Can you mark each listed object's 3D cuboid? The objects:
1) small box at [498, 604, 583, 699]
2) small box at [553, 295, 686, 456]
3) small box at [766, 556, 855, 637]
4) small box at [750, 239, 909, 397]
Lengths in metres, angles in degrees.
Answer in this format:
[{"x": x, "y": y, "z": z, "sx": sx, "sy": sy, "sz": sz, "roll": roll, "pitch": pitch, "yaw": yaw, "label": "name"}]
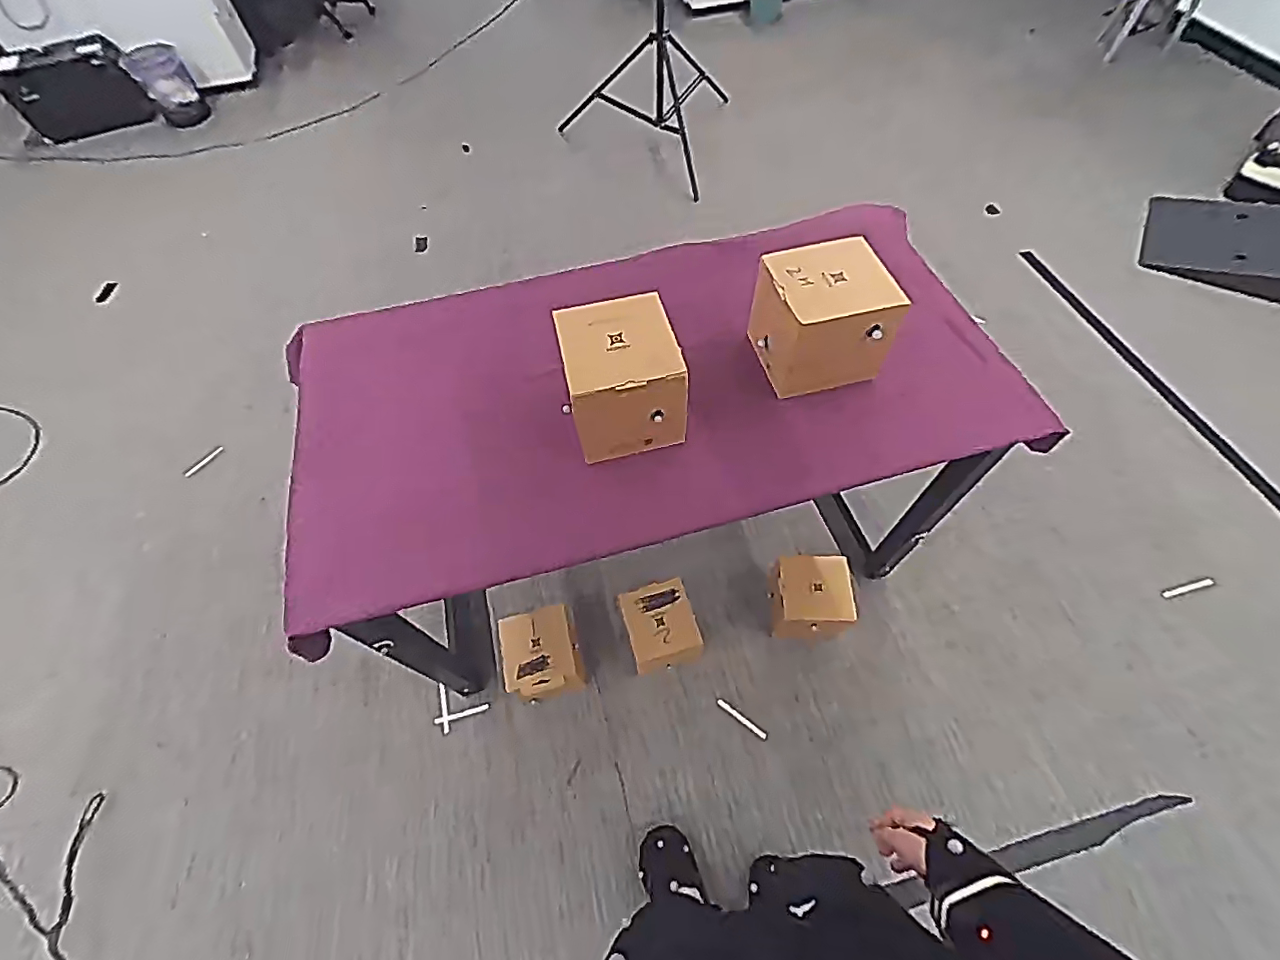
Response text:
[{"x": -0.243, "y": 0.436, "z": 1.349, "sx": 0.168, "sy": 0.176, "sz": 0.179, "roll": -13, "pitch": 59, "yaw": -6, "label": "small box"}, {"x": -0.030, "y": -0.153, "z": 0.843, "sx": 0.168, "sy": 0.176, "sz": 0.179, "roll": -13, "pitch": 58, "yaw": -7, "label": "small box"}, {"x": 0.434, "y": 0.305, "z": 1.402, "sx": 0.179, "sy": 0.176, "sz": 0.168, "roll": 0, "pitch": 60, "yaw": 3, "label": "small box"}, {"x": 0.297, "y": -0.262, "z": 0.893, "sx": 0.179, "sy": 0.176, "sz": 0.168, "roll": -13, "pitch": 59, "yaw": -5, "label": "small box"}]
